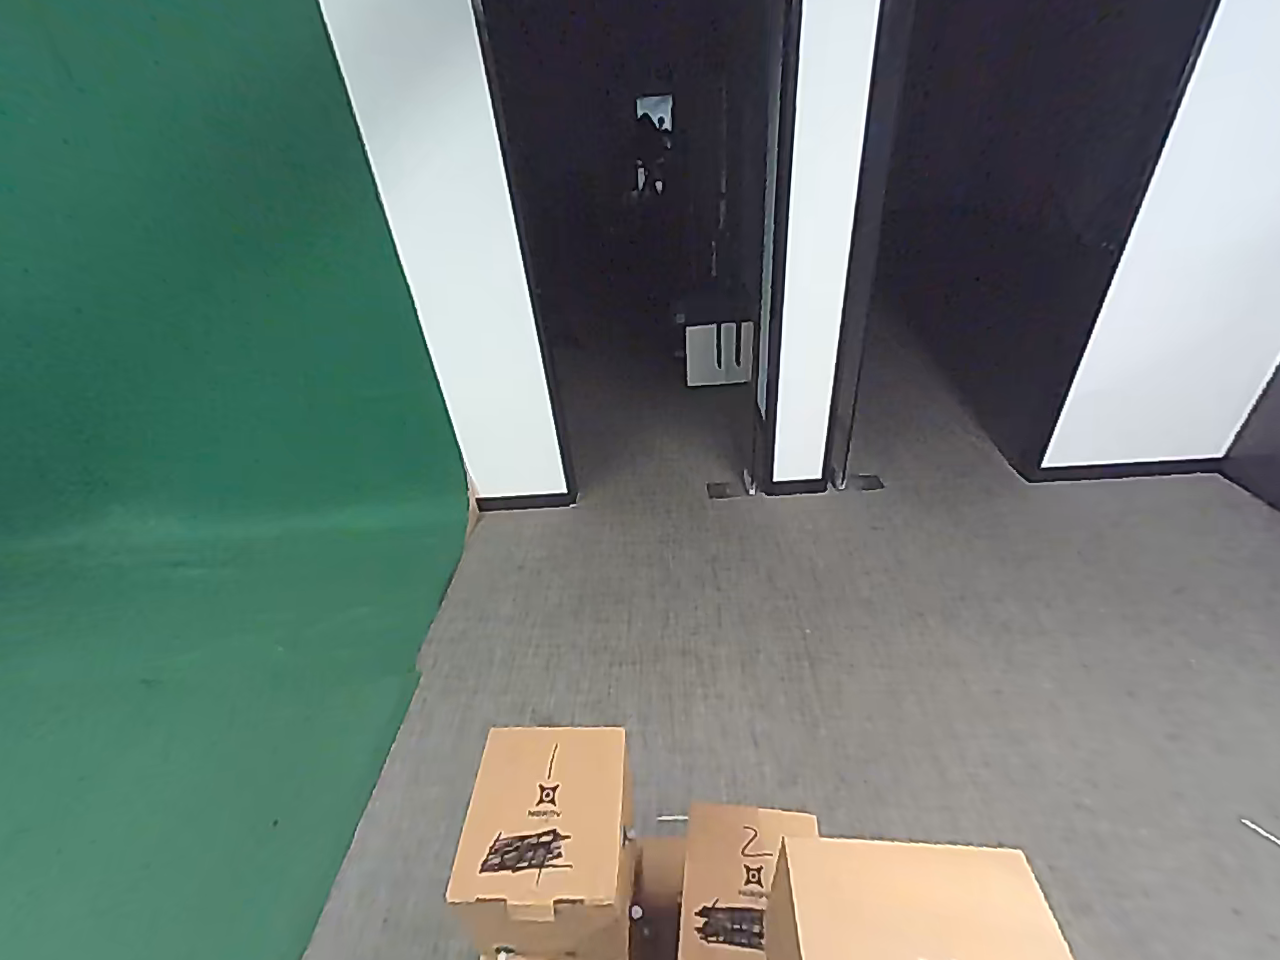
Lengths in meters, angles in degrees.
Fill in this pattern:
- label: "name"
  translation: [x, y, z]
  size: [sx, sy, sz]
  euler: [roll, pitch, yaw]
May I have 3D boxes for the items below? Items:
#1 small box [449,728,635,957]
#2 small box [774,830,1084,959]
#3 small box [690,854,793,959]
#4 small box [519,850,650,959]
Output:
- label: "small box"
  translation: [-0.093, 0.412, 0.619]
  size: [0.168, 0.176, 0.179]
  euler: [-2, 33, 3]
- label: "small box"
  translation: [0.186, 0.367, 0.353]
  size: [0.168, 0.176, 0.179]
  euler: [-1, 34, 5]
- label: "small box"
  translation: [0.159, 0.677, 0.773]
  size: [0.168, 0.176, 0.179]
  euler: [0, 34, 10]
- label: "small box"
  translation: [-0.074, 0.682, 0.806]
  size: [0.168, 0.176, 0.179]
  euler: [-1, 34, 4]
